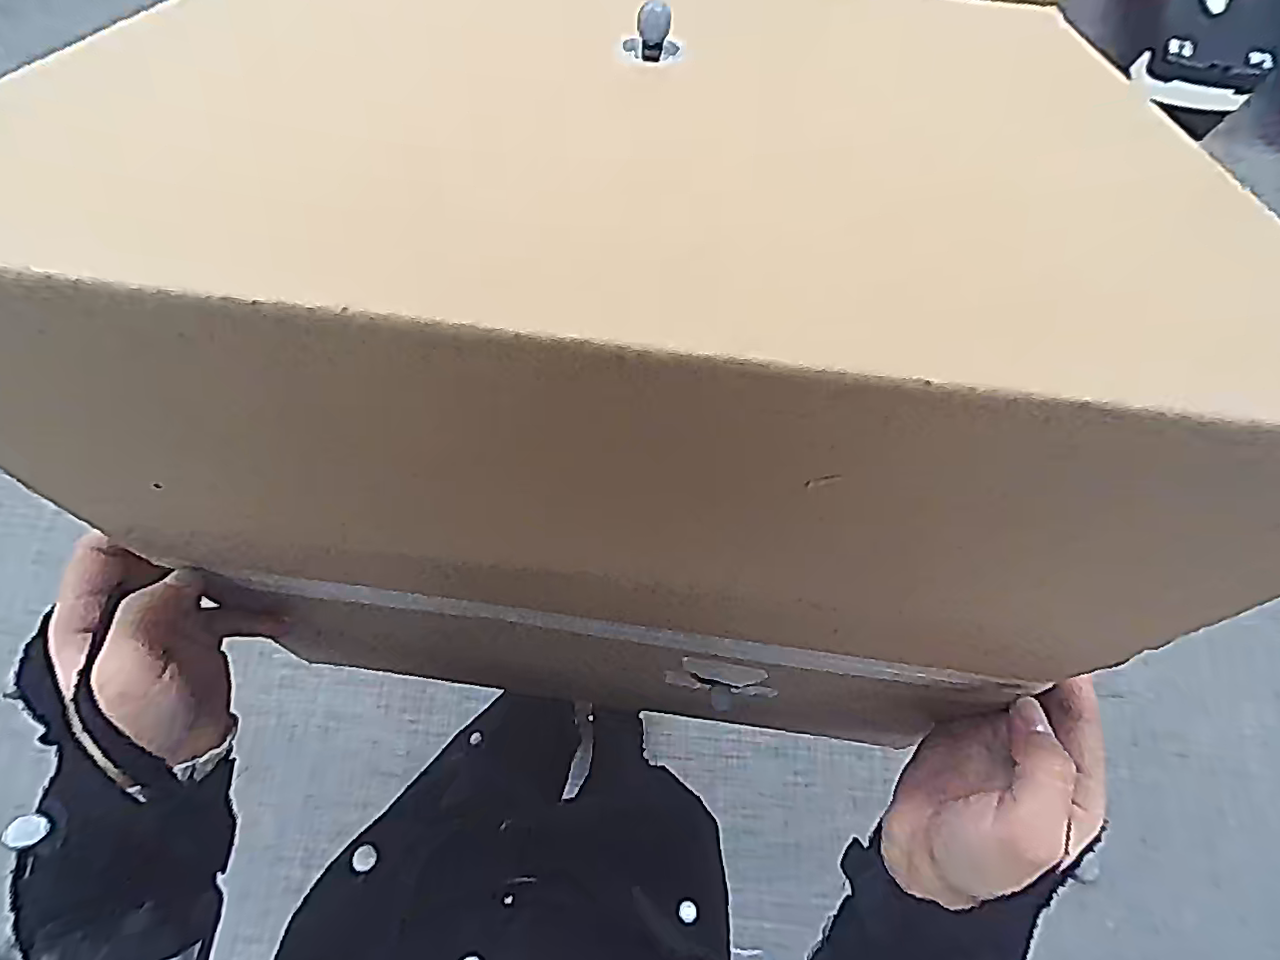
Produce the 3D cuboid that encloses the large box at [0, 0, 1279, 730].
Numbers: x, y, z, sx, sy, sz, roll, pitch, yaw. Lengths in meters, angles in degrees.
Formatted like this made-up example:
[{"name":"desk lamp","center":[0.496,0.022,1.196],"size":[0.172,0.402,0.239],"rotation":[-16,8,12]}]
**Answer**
[{"name":"large box","center":[-0.007,-0.063,0.338],"size":[0.408,0.320,0.320],"rotation":[7,55,2]}]
